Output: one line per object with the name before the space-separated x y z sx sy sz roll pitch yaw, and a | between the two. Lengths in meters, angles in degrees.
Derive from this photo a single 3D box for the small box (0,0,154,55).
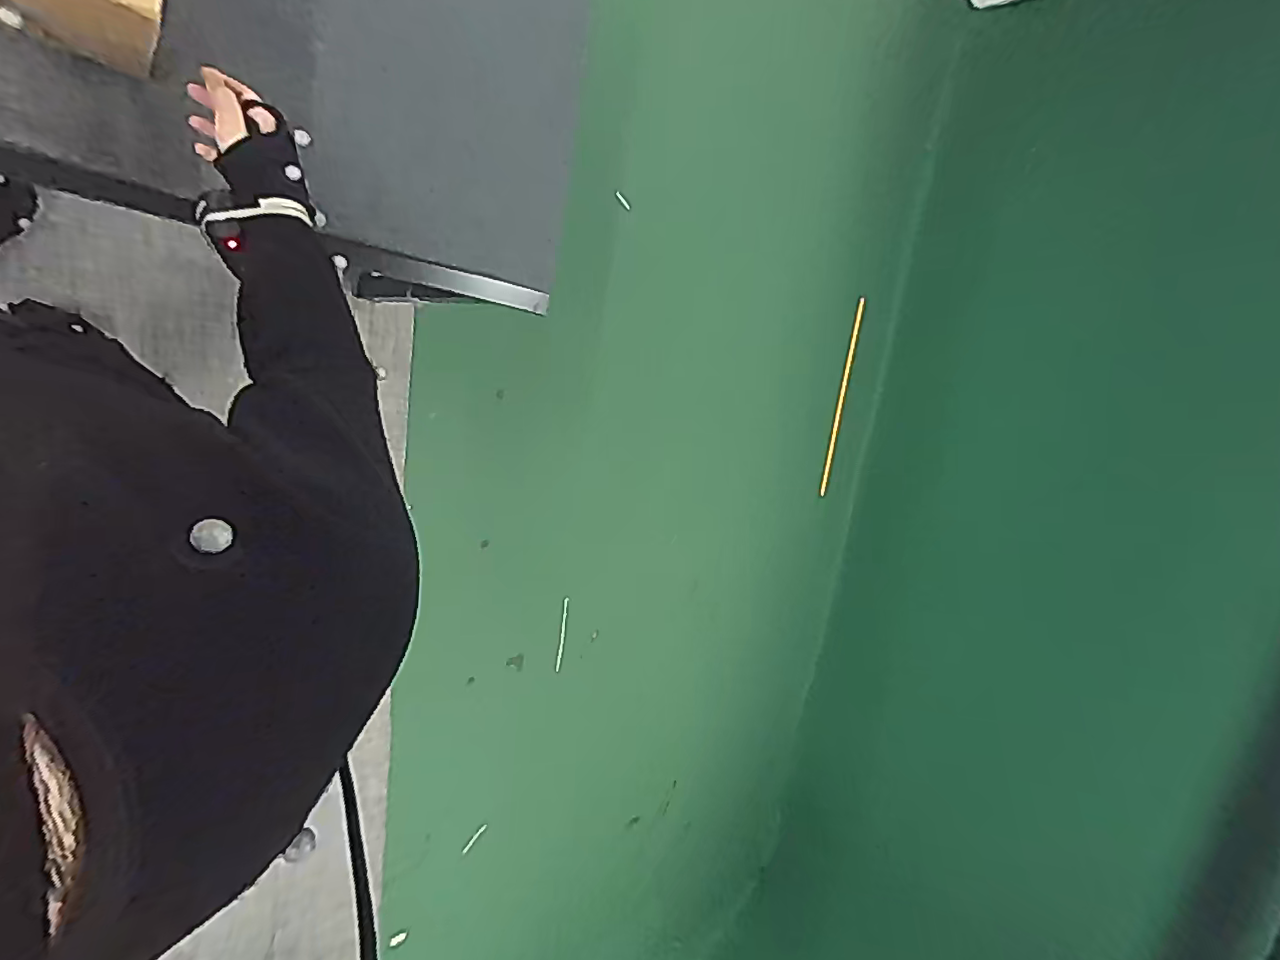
small box | -0.465 -0.466 0.391 0.168 0.176 0.179 2 102 -47
